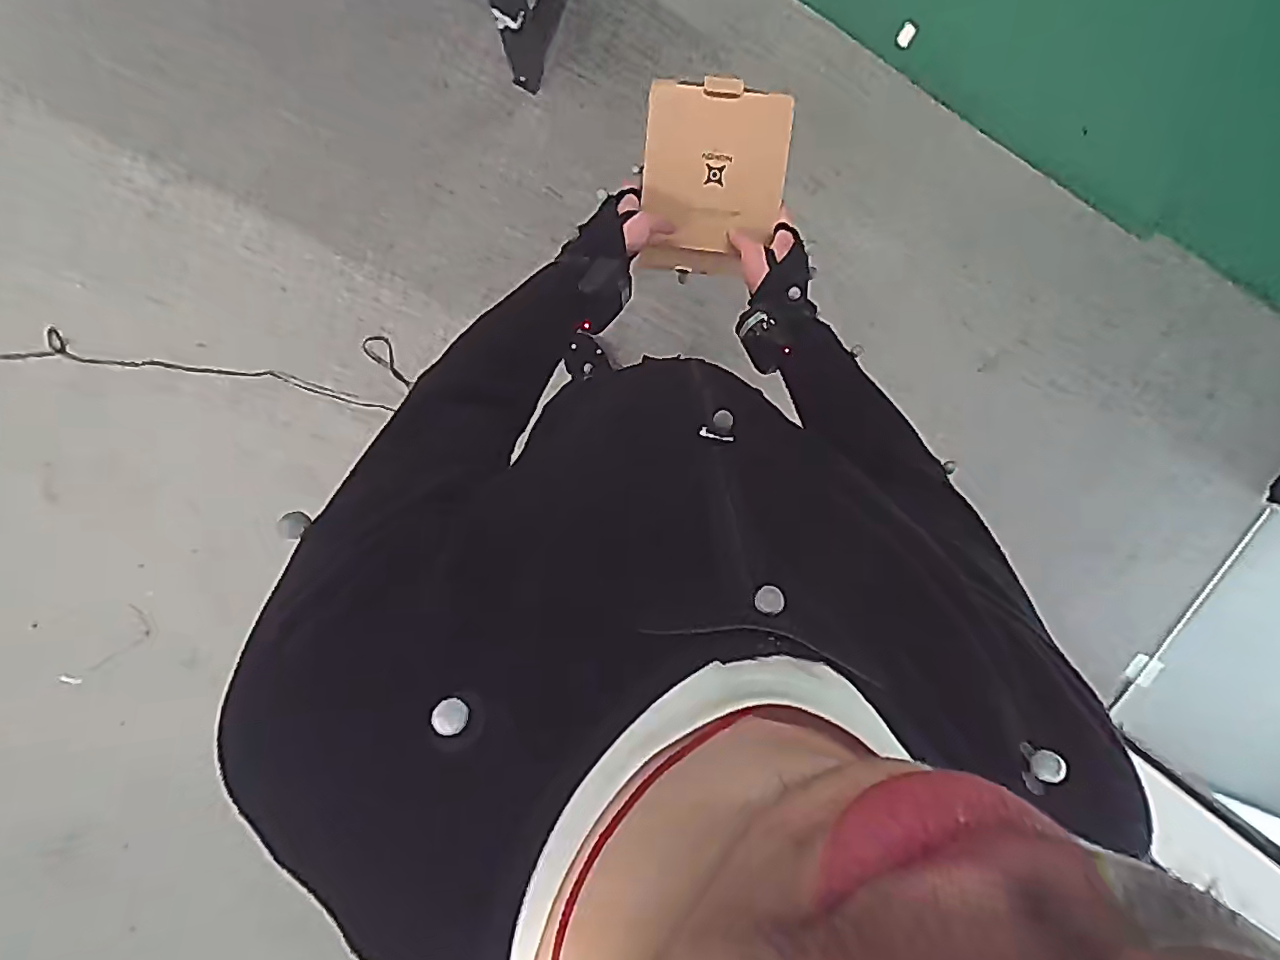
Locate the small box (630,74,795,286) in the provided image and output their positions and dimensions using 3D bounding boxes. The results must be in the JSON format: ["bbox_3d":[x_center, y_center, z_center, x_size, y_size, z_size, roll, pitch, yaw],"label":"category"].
[{"bbox_3d":[0.078,-0.360,0.682,0.168,0.176,0.179,7,100,-2],"label":"small box"}]
